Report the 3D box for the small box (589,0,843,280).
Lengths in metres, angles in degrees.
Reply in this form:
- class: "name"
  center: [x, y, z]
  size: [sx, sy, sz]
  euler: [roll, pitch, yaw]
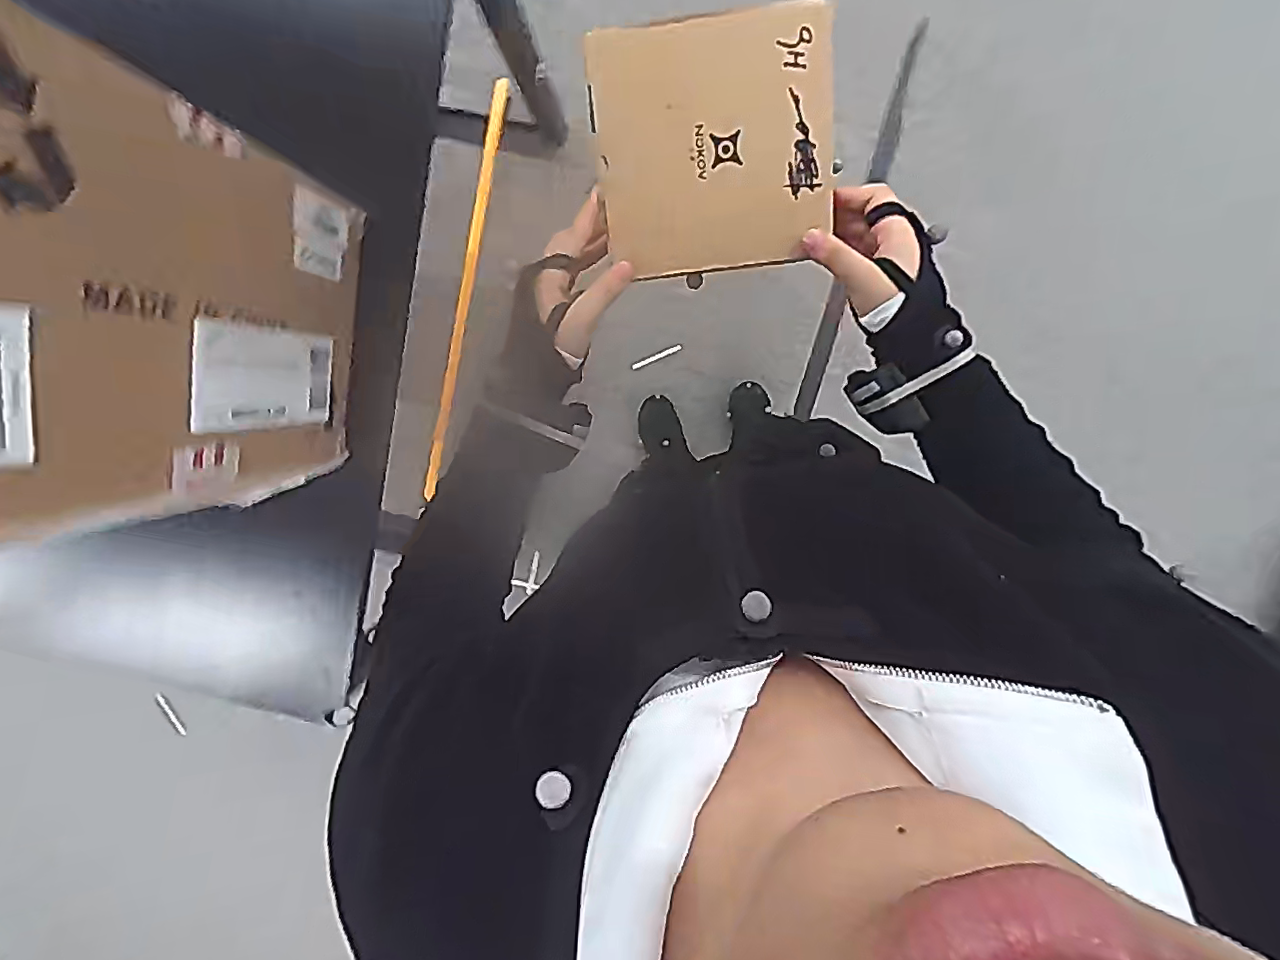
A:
- class: "small box"
  center: [0.061, -0.269, 0.469]
  size: [0.179, 0.176, 0.168]
  euler: [-5, 109, 3]
